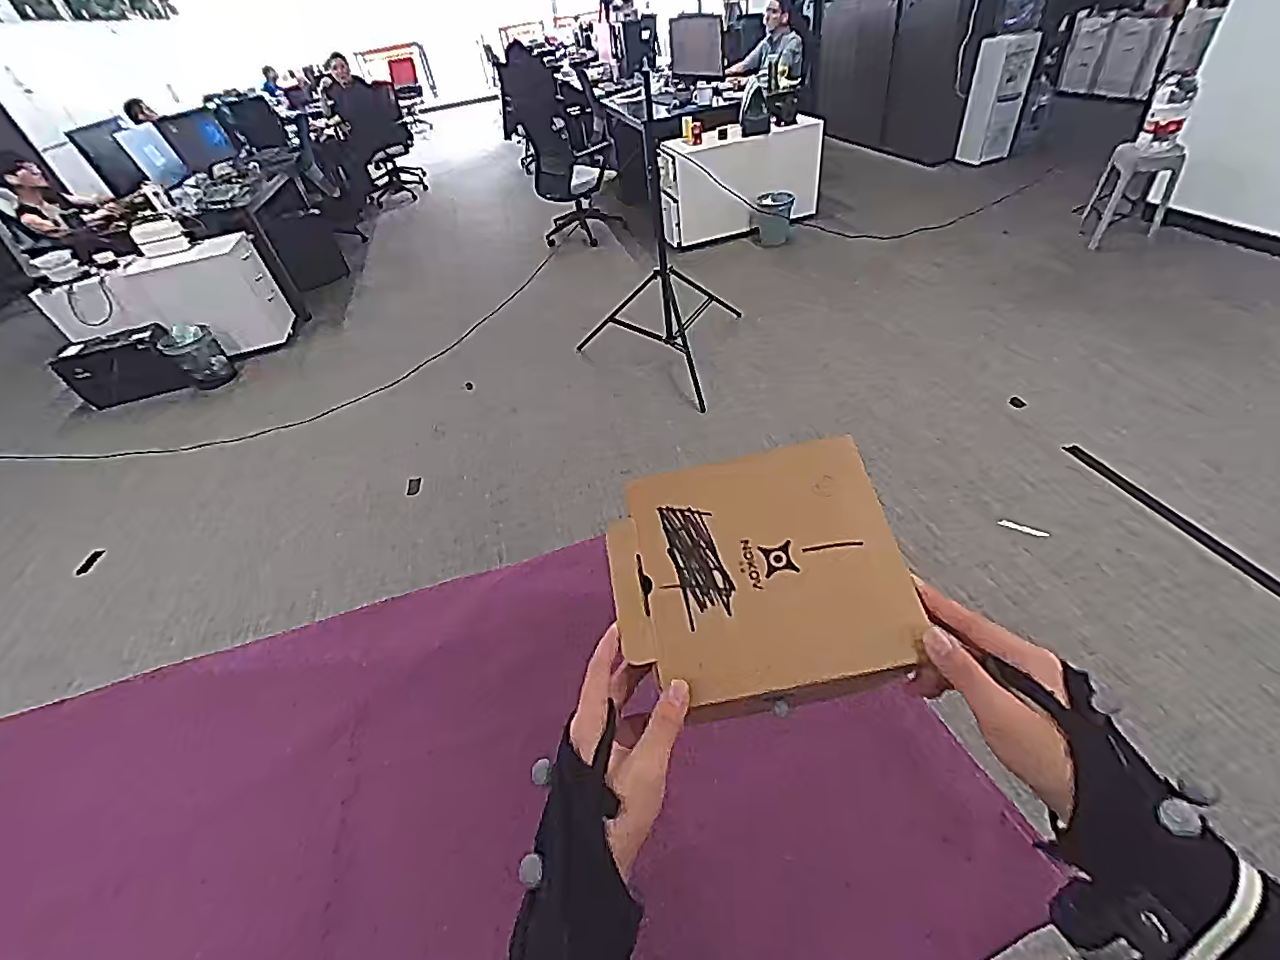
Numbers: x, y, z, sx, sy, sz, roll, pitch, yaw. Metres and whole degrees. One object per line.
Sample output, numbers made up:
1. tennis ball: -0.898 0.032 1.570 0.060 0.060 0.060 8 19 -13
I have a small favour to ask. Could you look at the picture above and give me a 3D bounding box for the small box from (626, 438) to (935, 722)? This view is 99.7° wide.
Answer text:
1. small box: 0.097 0.093 0.443 0.179 0.176 0.168 -12 61 2
